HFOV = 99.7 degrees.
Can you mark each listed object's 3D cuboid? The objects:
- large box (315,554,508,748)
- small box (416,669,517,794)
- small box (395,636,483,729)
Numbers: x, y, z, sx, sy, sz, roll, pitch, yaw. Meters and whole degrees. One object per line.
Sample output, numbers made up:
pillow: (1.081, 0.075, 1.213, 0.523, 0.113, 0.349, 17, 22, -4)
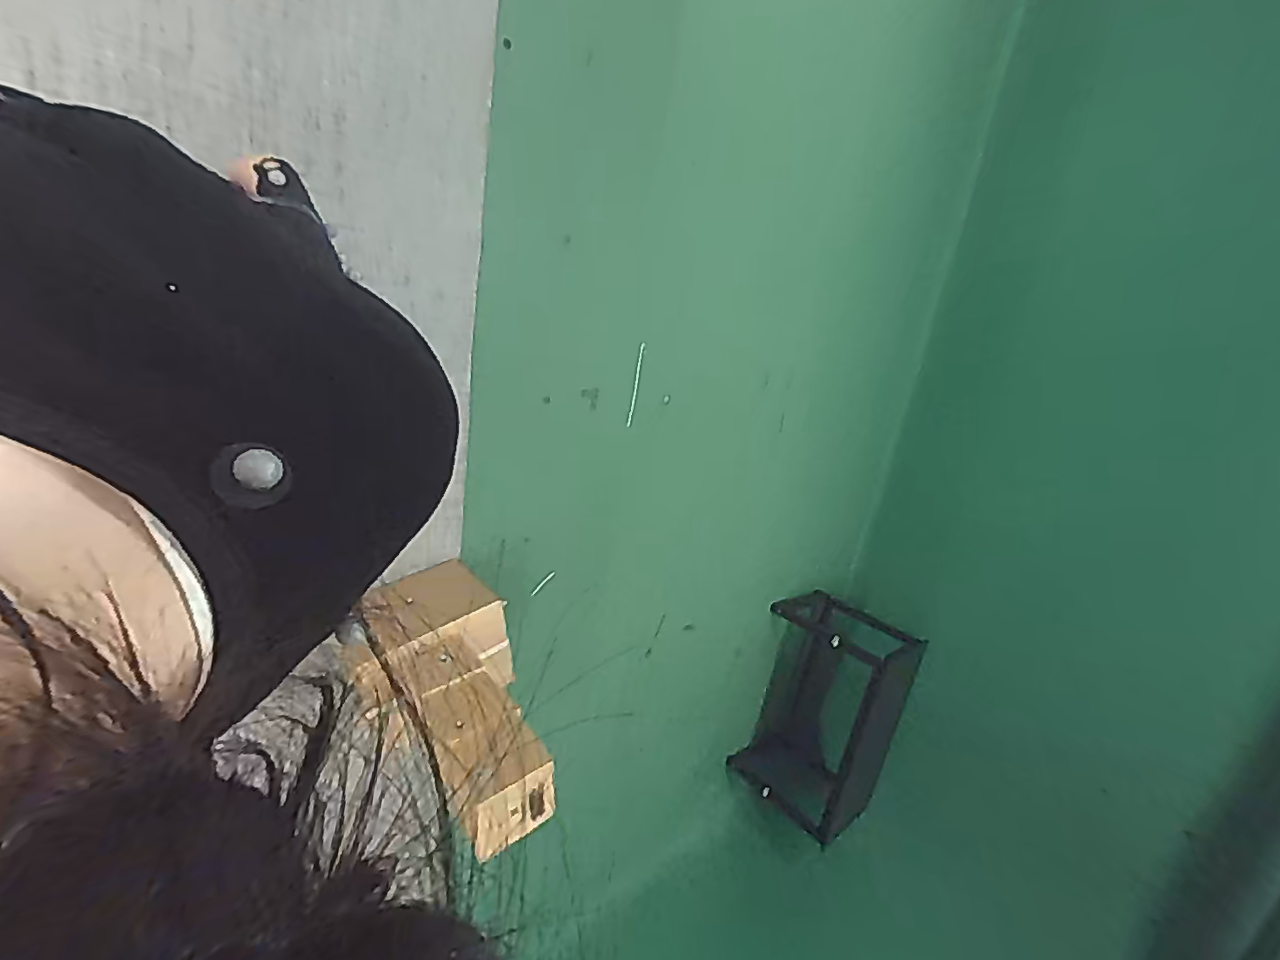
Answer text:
large box: (-0.661, 0.474, 1.592, 0.408, 0.320, 0.320, -23, 124, -38)
small box: (-0.411, 0.586, 1.287, 0.179, 0.176, 0.168, -14, 117, -40)
small box: (-0.516, 0.529, 1.397, 0.168, 0.176, 0.179, -16, 118, -39)
